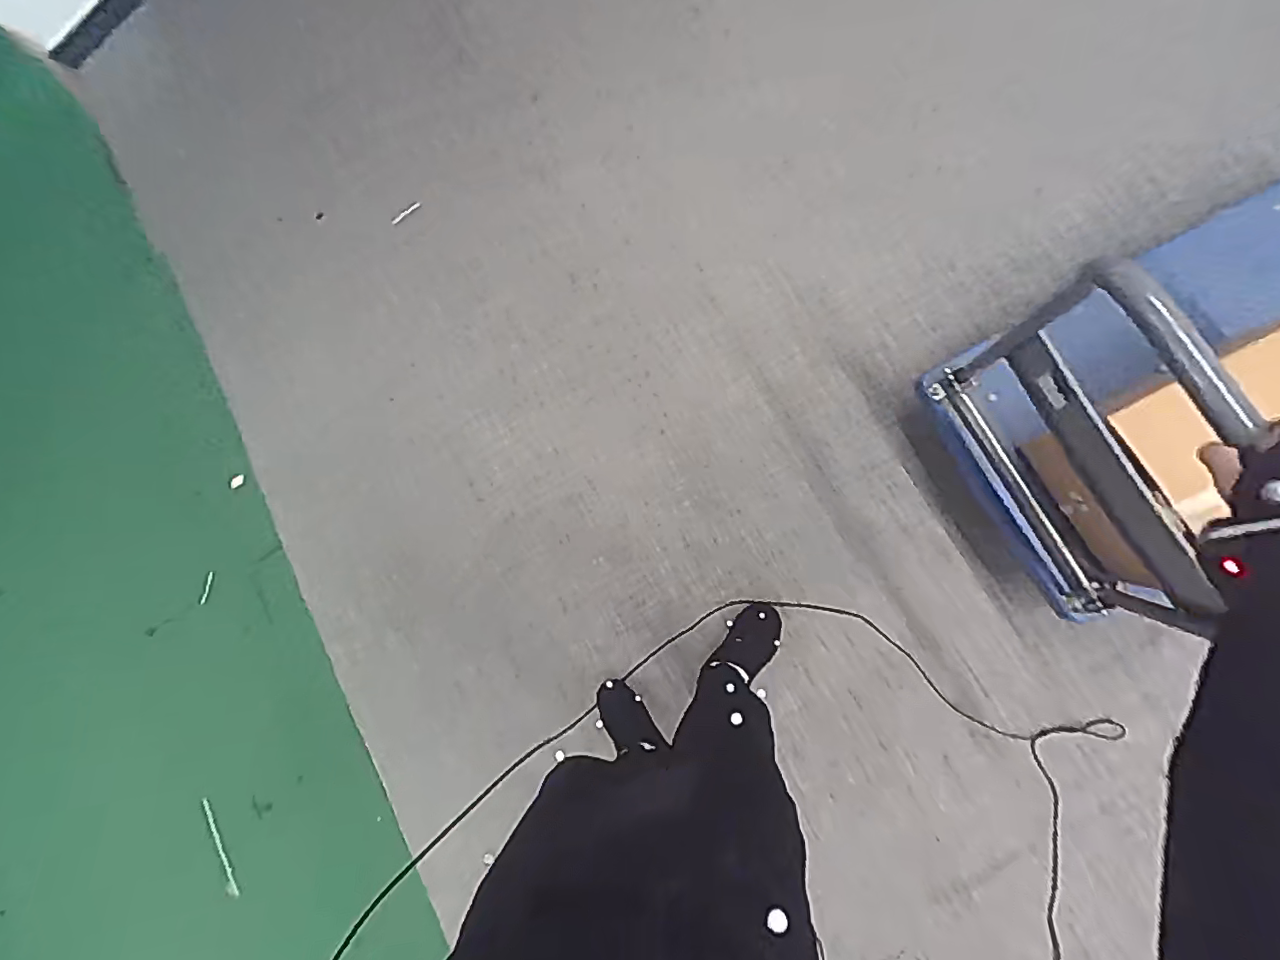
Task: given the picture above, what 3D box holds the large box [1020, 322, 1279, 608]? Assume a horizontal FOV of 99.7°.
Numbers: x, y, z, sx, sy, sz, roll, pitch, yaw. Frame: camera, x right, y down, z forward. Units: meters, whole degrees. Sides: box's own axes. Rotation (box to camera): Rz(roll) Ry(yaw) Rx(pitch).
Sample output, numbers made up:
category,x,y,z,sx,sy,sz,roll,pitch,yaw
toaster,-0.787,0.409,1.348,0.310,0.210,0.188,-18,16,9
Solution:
category,x,y,z,sx,sy,sz,roll,pitch,yaw
large box,0.962,-0.036,0.887,0.408,0.320,0.320,-30,80,10
